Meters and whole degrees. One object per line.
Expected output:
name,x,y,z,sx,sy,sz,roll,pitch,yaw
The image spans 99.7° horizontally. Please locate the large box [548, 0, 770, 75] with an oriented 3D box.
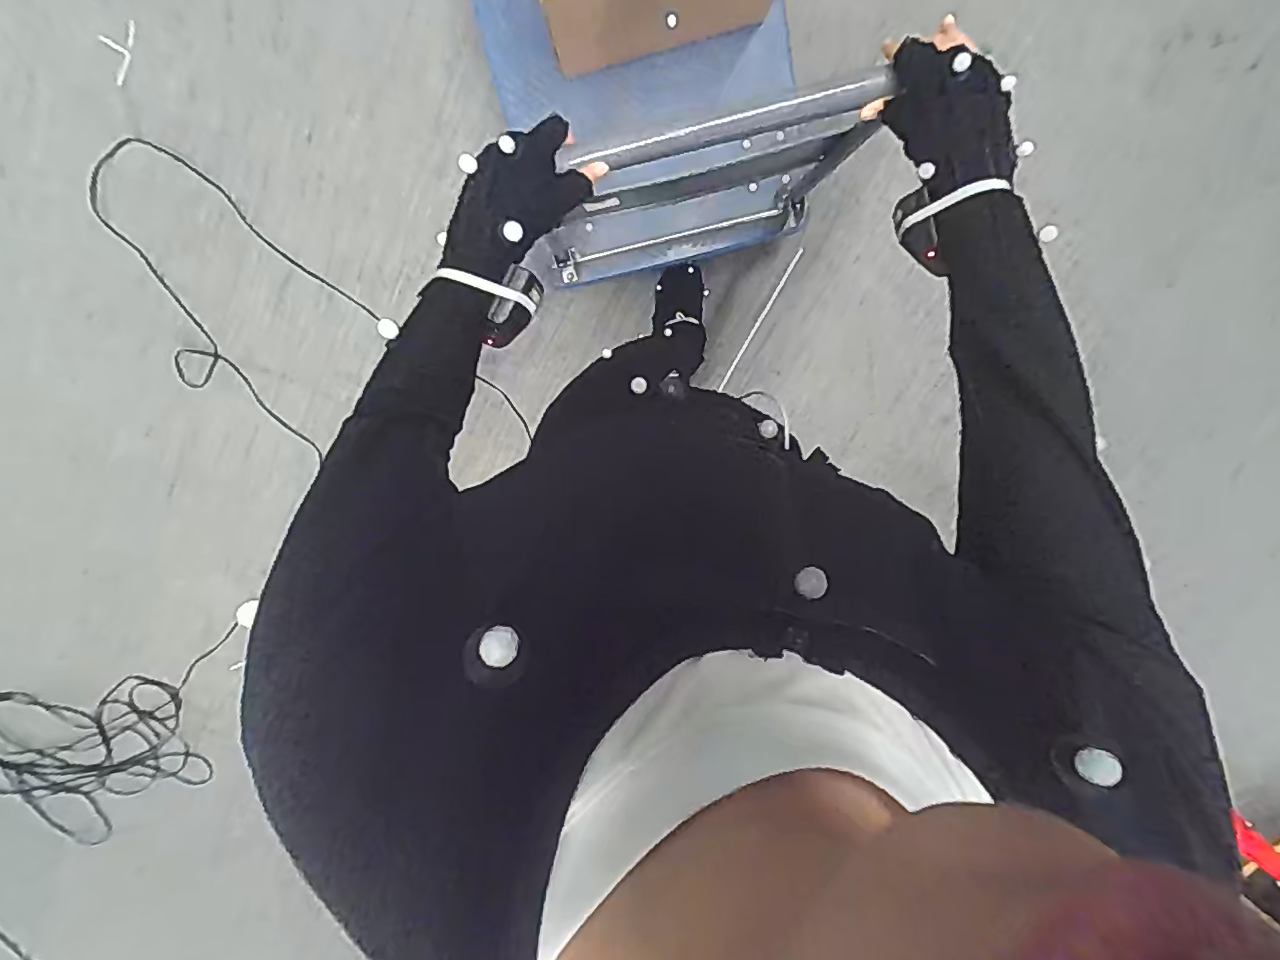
large box,0.016,-0.936,0.865,0.408,0.320,0.320,-15,107,4
